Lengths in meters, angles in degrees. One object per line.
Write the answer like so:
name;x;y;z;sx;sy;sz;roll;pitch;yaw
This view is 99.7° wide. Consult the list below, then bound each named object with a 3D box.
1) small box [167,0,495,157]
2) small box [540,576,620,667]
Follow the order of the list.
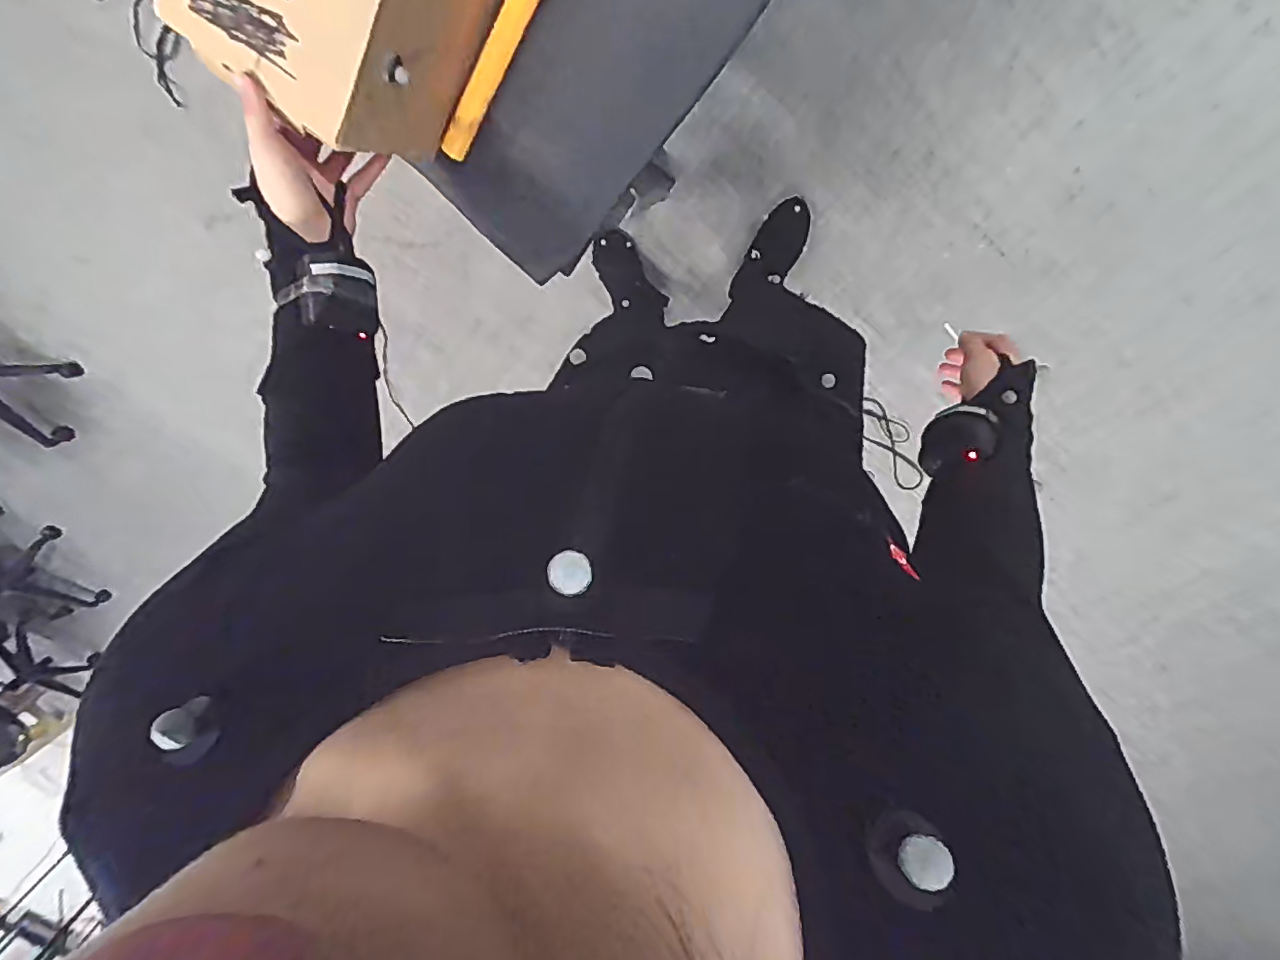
small box;-0.254;-0.415;0.476;0.168;0.176;0.179;35;119;-9
small box;-0.175;0.426;1.648;0.168;0.176;0.179;33;122;-9
